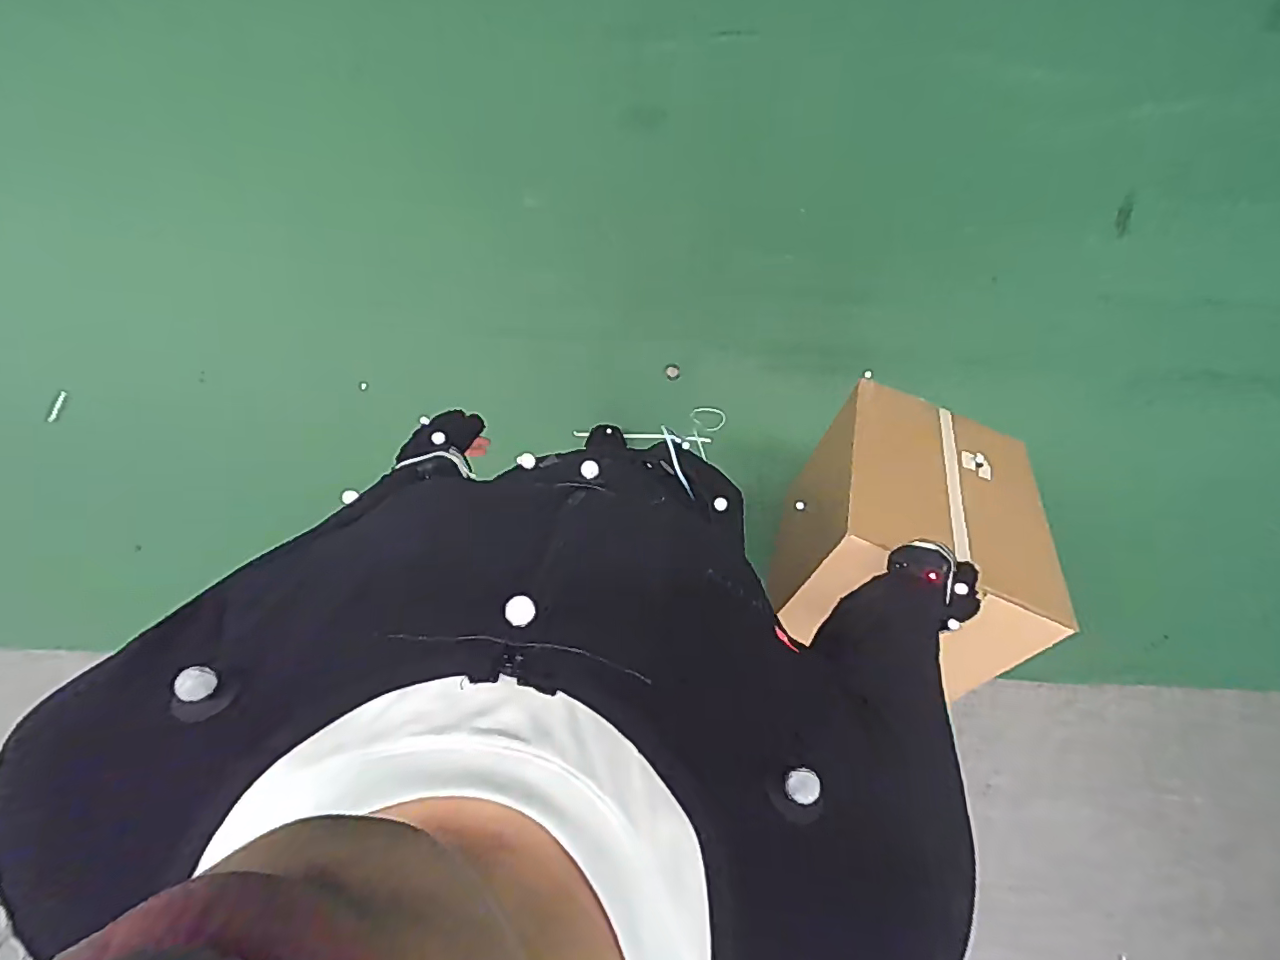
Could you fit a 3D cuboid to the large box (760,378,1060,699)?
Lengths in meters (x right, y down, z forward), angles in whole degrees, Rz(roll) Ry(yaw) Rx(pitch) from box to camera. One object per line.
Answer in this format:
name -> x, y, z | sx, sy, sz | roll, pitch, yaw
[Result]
large box -> 0.436, 0.096, 0.957 | 0.320, 0.408, 0.320 | 24, 135, 3
